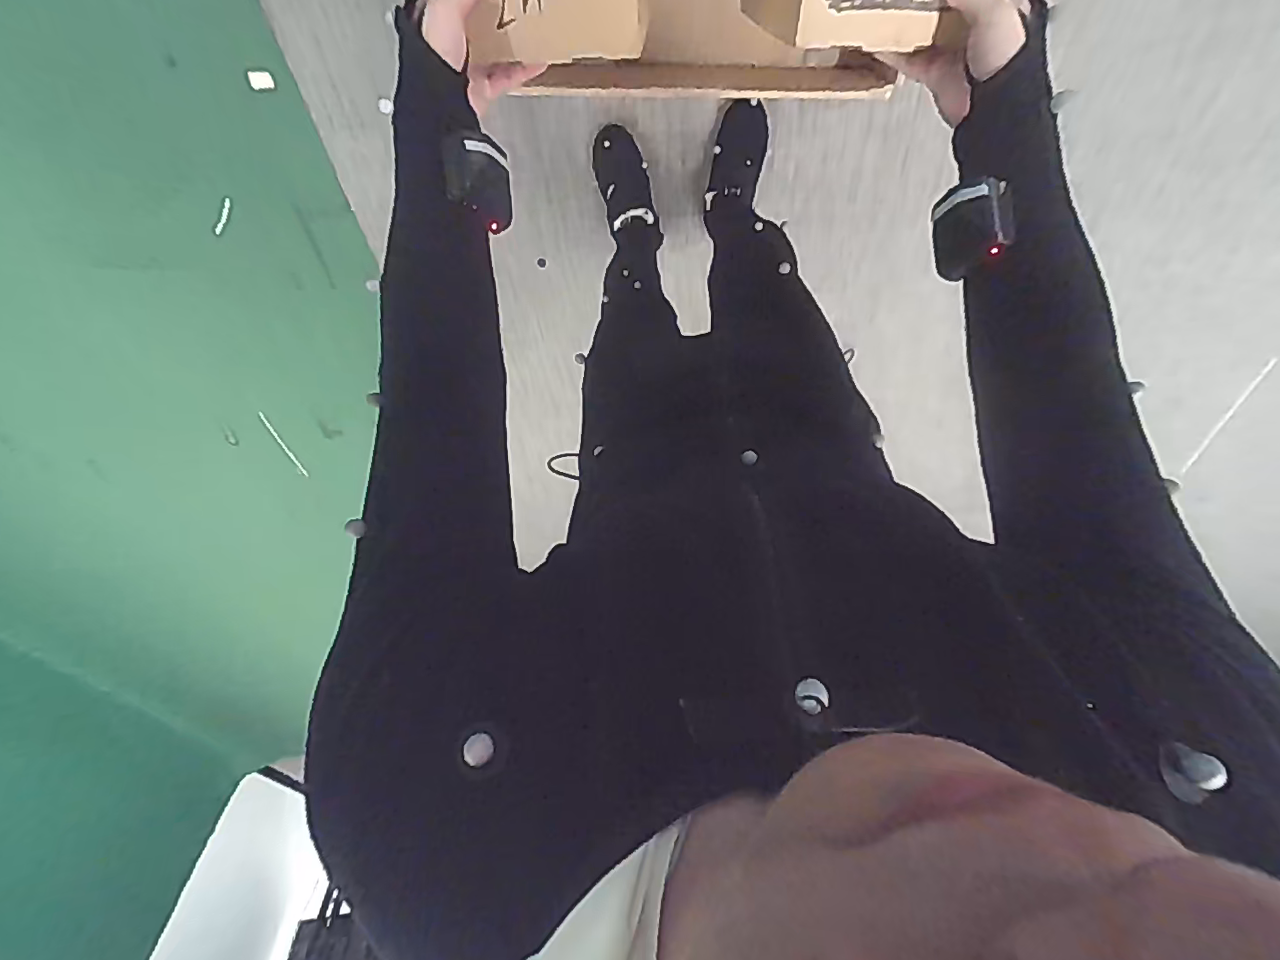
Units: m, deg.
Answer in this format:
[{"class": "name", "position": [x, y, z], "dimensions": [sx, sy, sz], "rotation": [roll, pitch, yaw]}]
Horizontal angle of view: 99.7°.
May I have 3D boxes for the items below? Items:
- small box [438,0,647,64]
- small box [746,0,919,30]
[{"class": "small box", "position": [-0.081, -0.478, 0.458], "dimensions": [0.168, 0.176, 0.179], "rotation": [1, 137, 4]}, {"class": "small box", "position": [0.207, -0.592, 0.563], "dimensions": [0.168, 0.176, 0.179], "rotation": [1, 134, 1]}]
